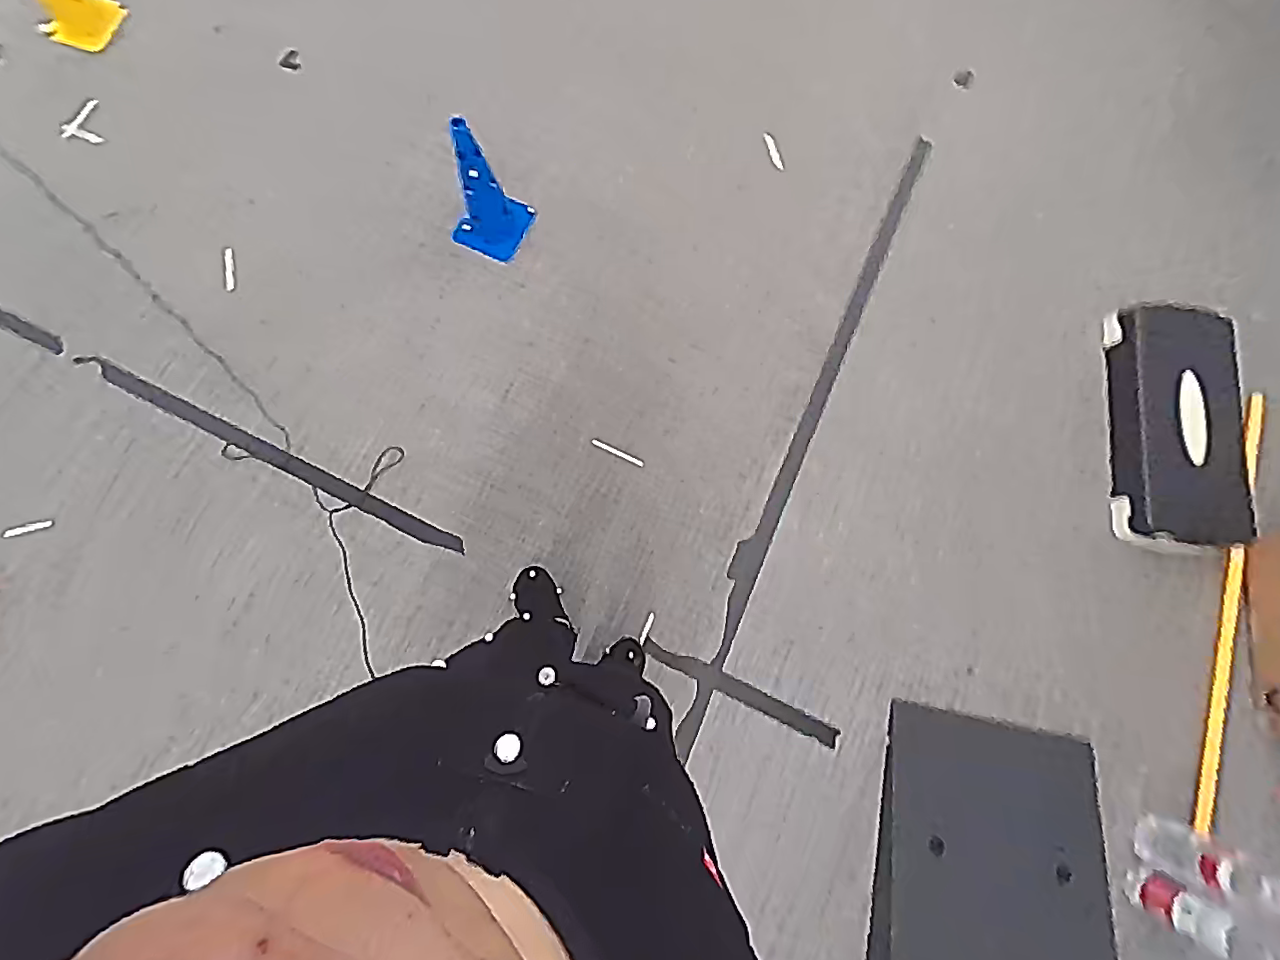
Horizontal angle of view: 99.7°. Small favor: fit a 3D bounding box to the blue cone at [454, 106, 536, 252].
[{"bbox_3d":[-0.422,-0.806,1.435,0.193,0.380,0.192,26,78,5],"label":"blue cone"}]
